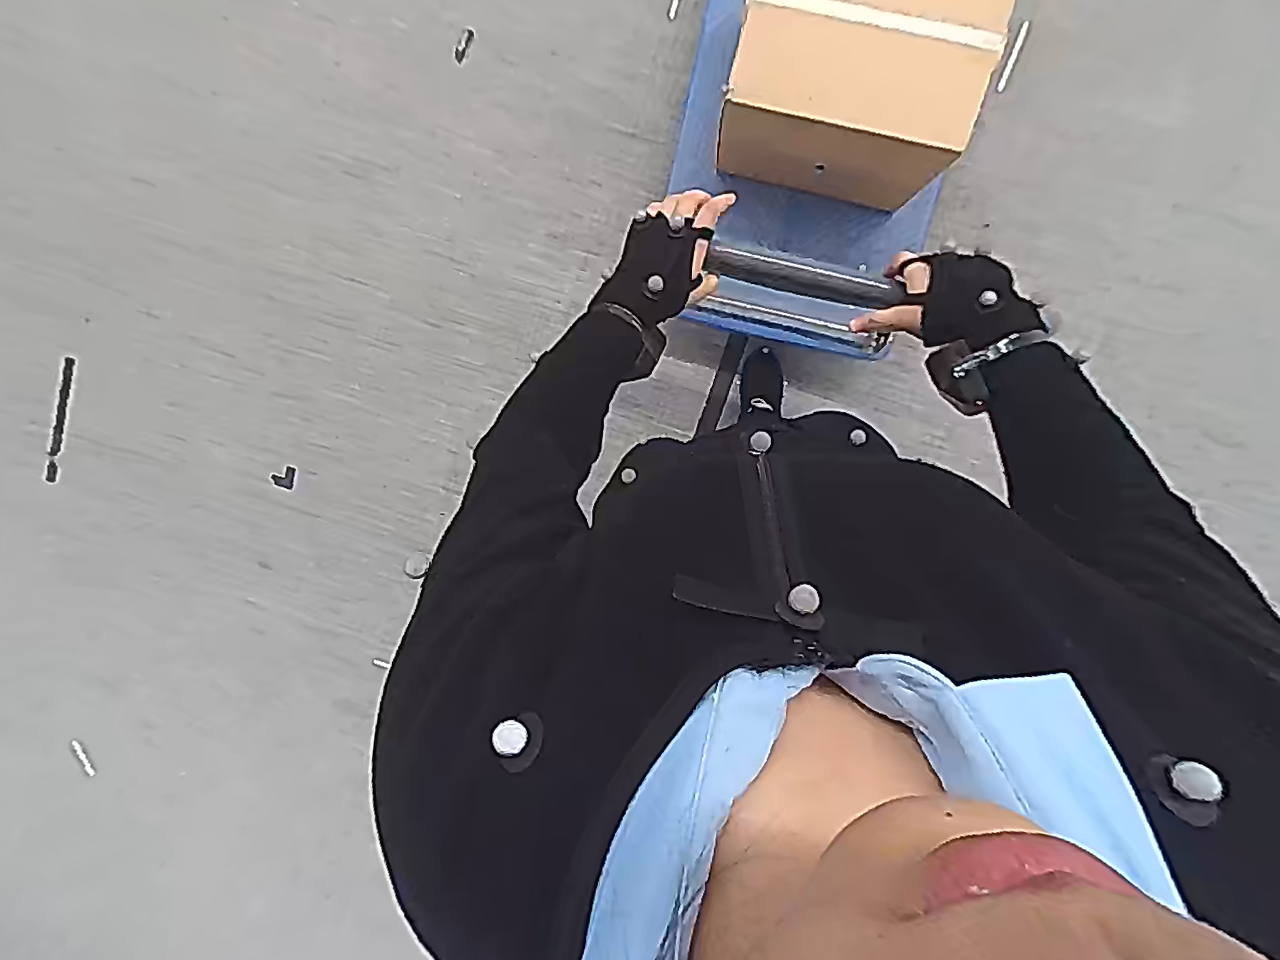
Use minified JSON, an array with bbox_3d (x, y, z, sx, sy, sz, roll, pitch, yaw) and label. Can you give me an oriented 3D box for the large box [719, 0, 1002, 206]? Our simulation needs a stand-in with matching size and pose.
[{"bbox_3d":[0.386,-0.763,1.031,0.408,0.320,0.320,14,100,4],"label":"large box"}]
